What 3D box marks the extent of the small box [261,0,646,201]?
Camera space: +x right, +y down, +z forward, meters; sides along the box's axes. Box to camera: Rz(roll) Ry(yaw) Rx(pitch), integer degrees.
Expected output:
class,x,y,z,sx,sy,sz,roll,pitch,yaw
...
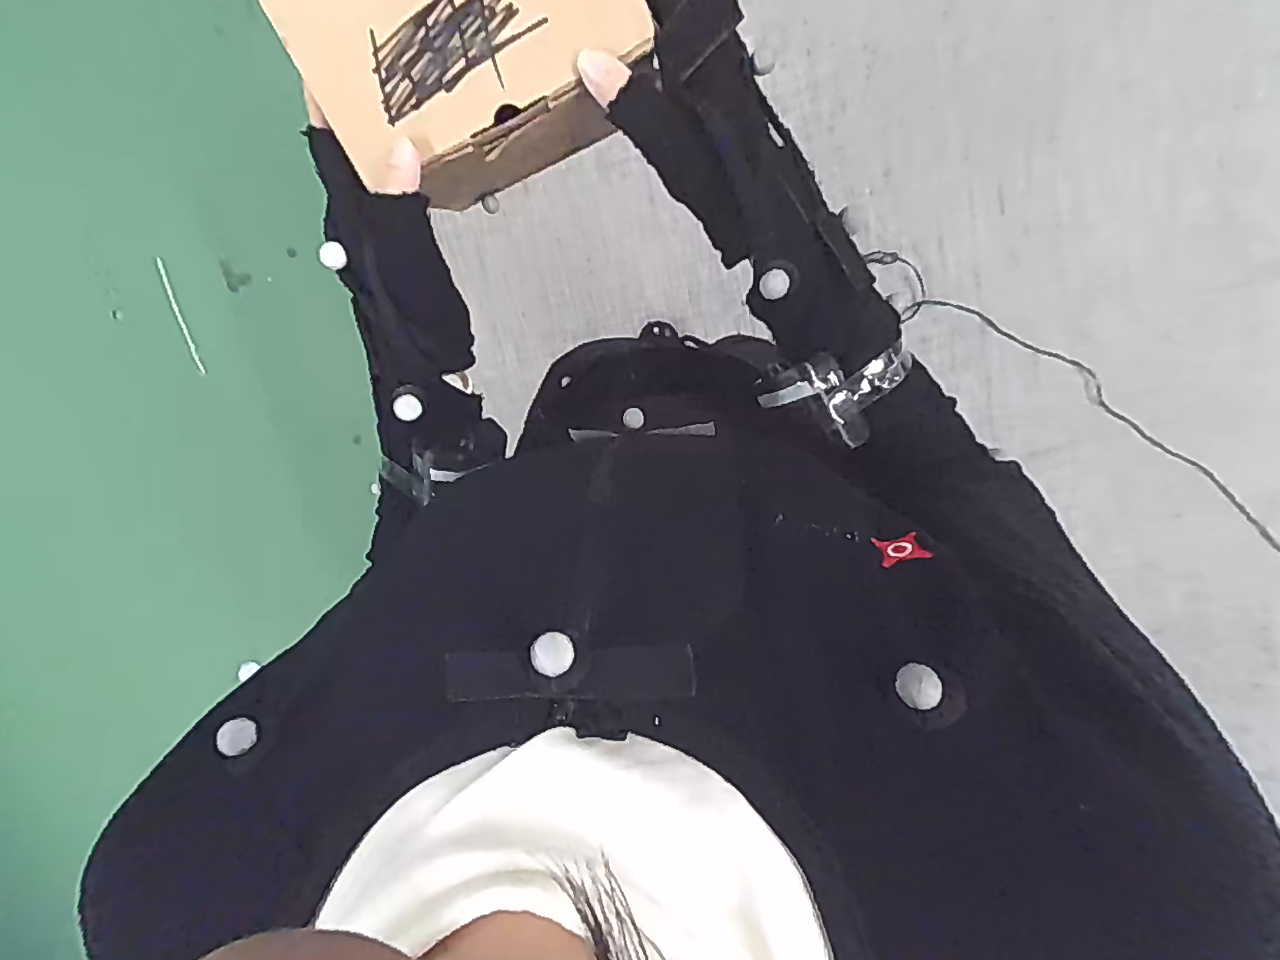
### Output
class,x,y,z,sx,sy,sz,roll,pitch,yaw
small box,-0.105,-0.289,0.321,0.168,0.176,0.179,-25,112,10
